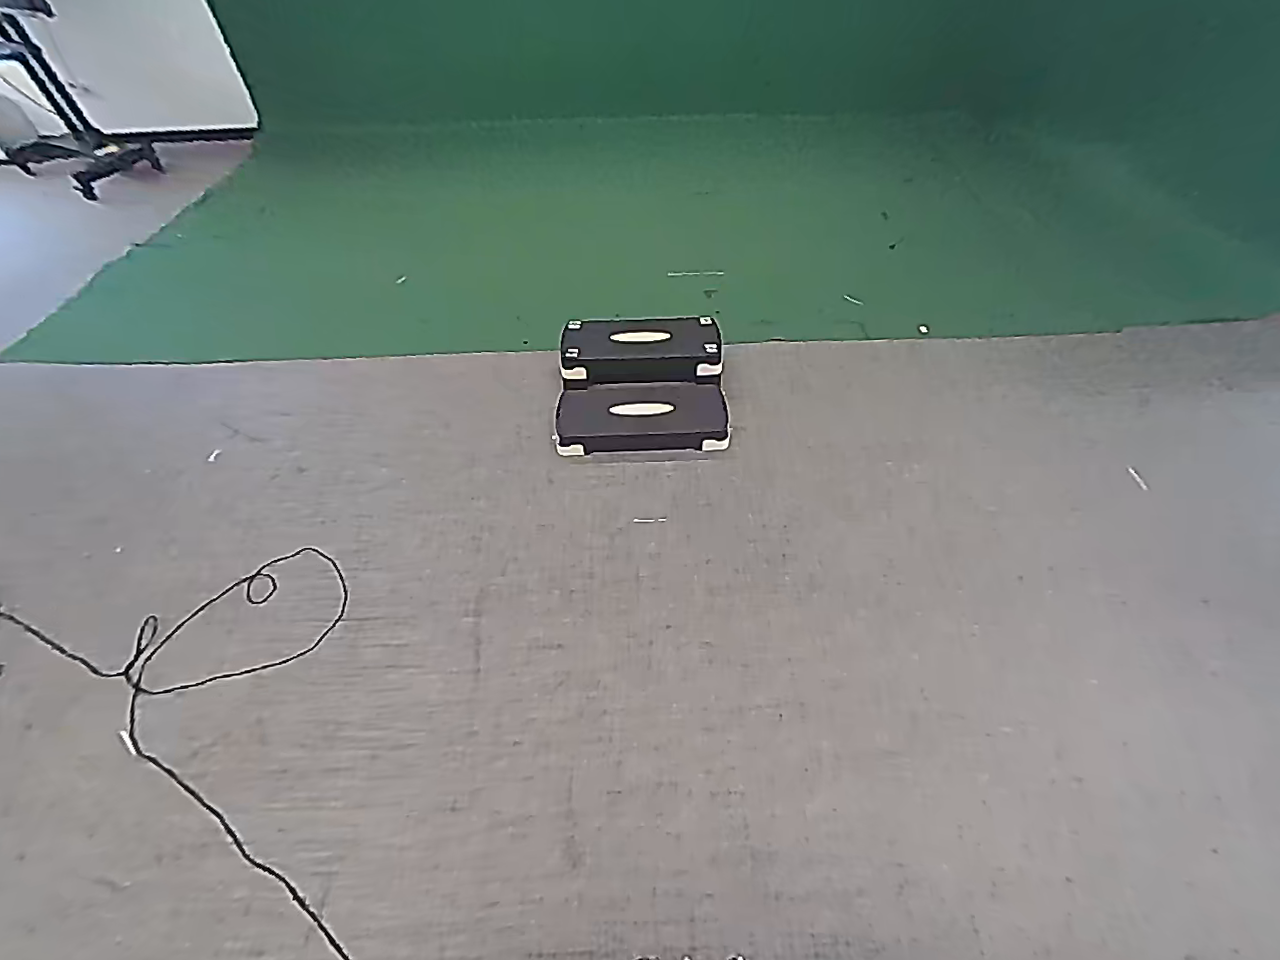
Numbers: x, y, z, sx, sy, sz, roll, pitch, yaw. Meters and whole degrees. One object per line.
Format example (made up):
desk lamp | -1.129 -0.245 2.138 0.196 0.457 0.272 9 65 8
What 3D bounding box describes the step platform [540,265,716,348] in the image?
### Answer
step platform | -0.045 -0.695 2.165 0.684 0.204 0.286 -3 50 0
